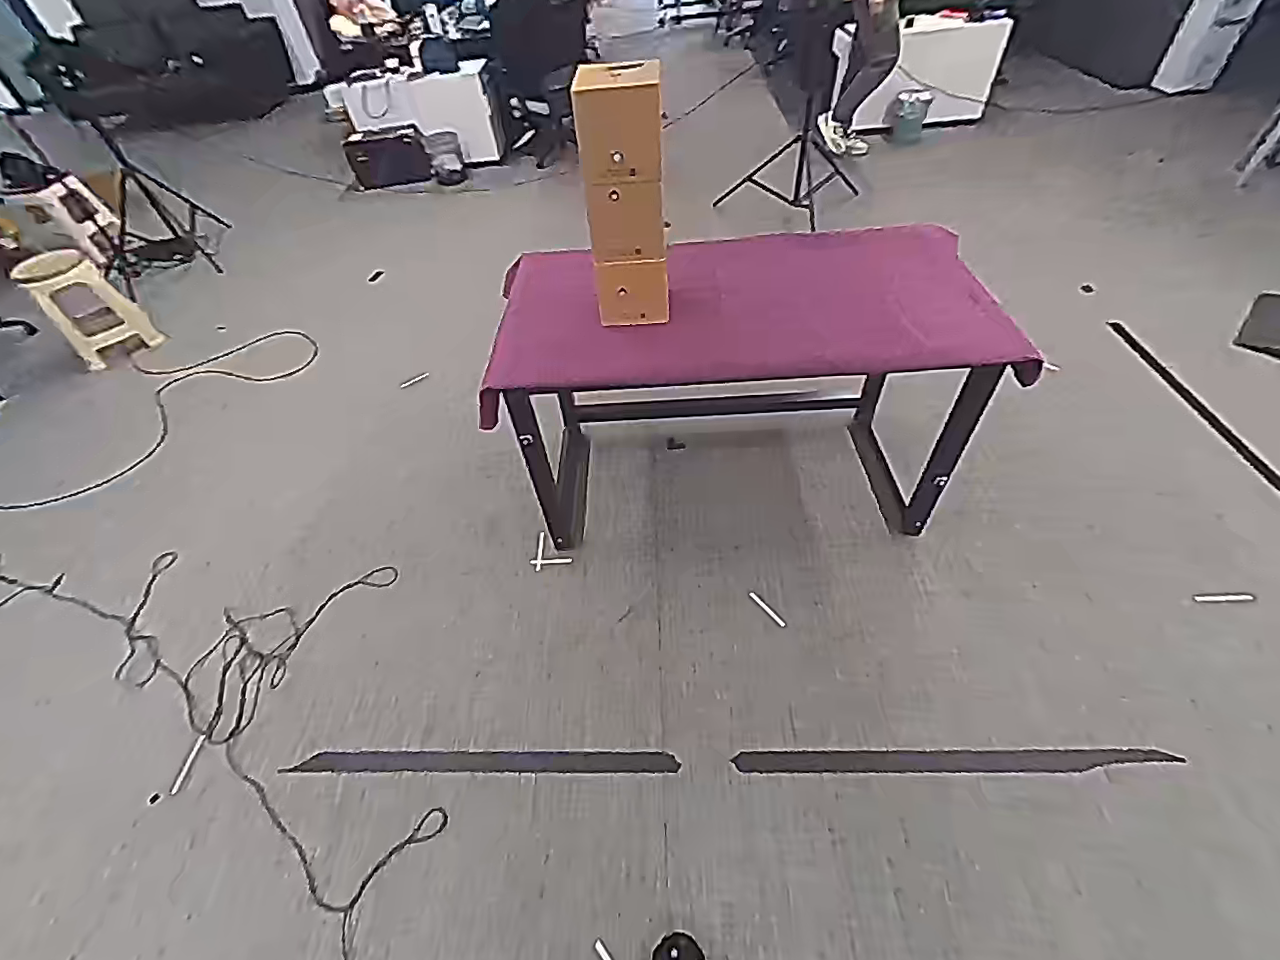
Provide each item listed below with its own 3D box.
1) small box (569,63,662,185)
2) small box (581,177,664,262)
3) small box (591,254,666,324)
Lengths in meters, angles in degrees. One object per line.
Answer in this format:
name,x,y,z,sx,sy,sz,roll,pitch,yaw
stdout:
small box,-0.042,-0.721,1.100,0.168,0.176,0.179,-2,49,4
small box,-0.034,-0.614,1.225,0.168,0.176,0.179,-3,48,4
small box,-0.021,-0.501,1.344,0.168,0.176,0.179,-2,48,4
